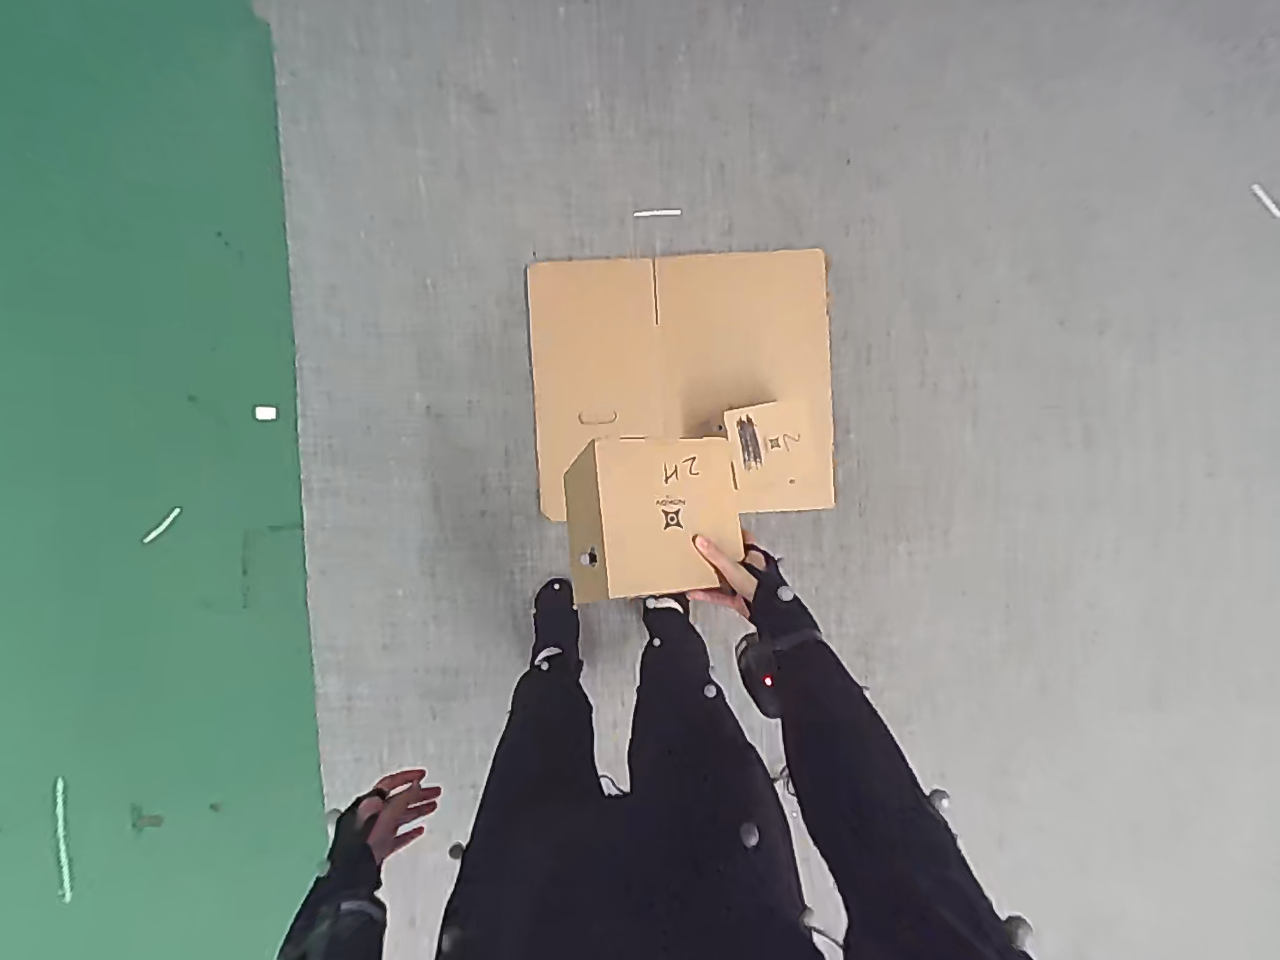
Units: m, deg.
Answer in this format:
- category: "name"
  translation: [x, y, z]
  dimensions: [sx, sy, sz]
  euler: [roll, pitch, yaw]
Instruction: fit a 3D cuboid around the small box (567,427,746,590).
- category: "small box"
  translation: [0.009, 0.042, 0.673]
  dimensions: [0.168, 0.176, 0.179]
  euler: [-2, 77, -20]
